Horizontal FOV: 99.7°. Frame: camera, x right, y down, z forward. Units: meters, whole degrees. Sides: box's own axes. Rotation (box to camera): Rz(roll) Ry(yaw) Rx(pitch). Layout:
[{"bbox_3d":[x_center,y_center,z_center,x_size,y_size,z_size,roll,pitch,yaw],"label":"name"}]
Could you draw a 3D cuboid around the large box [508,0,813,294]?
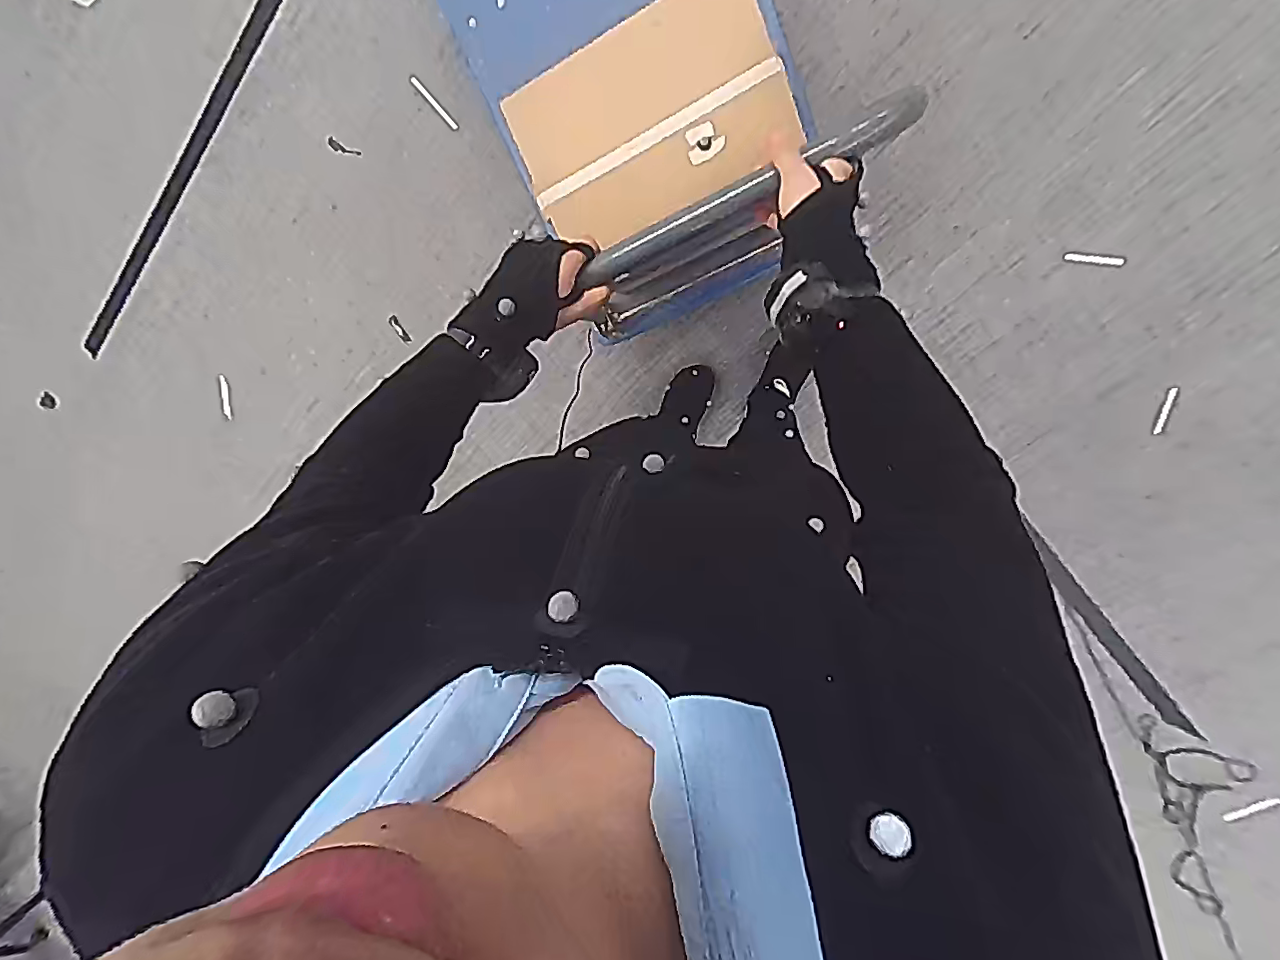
[{"bbox_3d":[0.047,-0.575,0.980,0.408,0.320,0.320,-22,103,15],"label":"large box"}]
